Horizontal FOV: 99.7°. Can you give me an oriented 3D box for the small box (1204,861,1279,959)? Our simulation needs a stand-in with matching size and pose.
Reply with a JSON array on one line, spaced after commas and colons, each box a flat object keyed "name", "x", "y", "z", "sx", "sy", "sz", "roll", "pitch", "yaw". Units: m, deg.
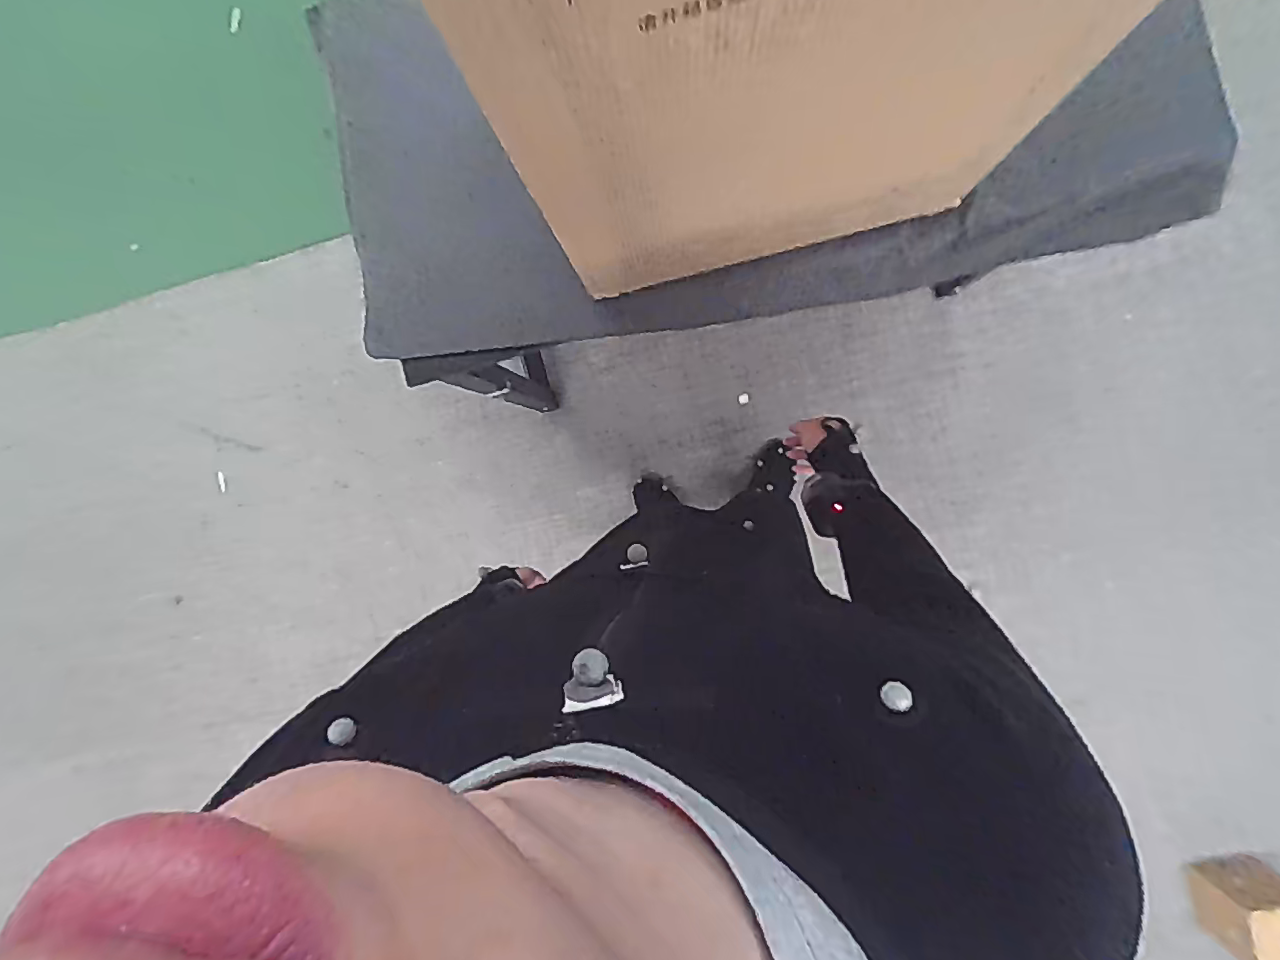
[{"name": "small box", "x": 1.575, "y": 1.089, "z": 1.346, "sx": 0.168, "sy": 0.176, "sz": 0.179, "roll": -14, "pitch": 91, "yaw": 6}]
